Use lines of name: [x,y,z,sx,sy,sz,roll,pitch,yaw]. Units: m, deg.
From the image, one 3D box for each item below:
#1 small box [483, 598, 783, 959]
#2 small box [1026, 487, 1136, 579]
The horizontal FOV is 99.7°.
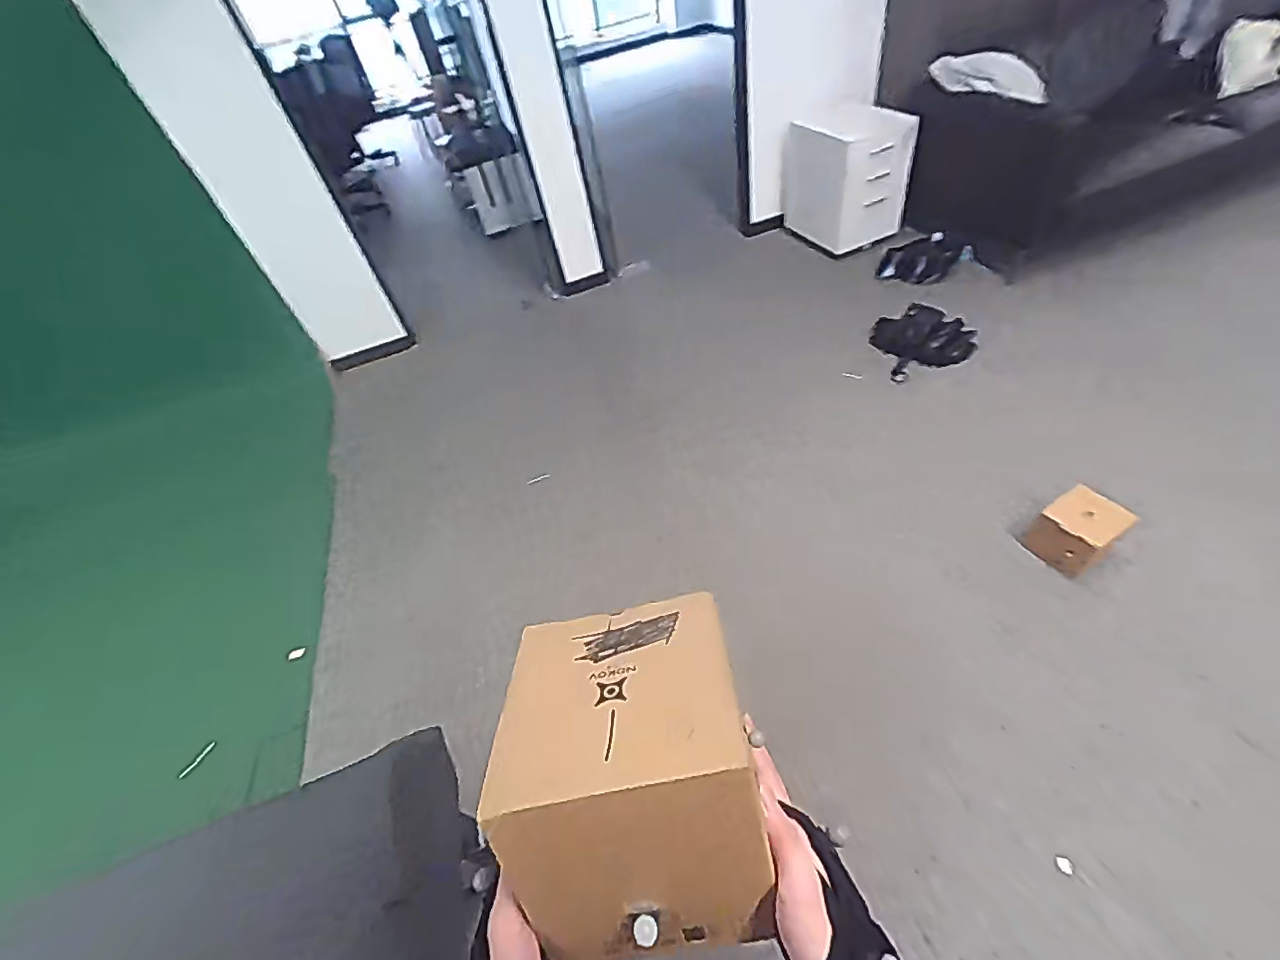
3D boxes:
small box: [0.003,0.222,0.419,0.168,0.176,0.179,-13,22,5]
small box: [1.284,0.160,1.592,0.179,0.176,0.168,-29,49,-16]
